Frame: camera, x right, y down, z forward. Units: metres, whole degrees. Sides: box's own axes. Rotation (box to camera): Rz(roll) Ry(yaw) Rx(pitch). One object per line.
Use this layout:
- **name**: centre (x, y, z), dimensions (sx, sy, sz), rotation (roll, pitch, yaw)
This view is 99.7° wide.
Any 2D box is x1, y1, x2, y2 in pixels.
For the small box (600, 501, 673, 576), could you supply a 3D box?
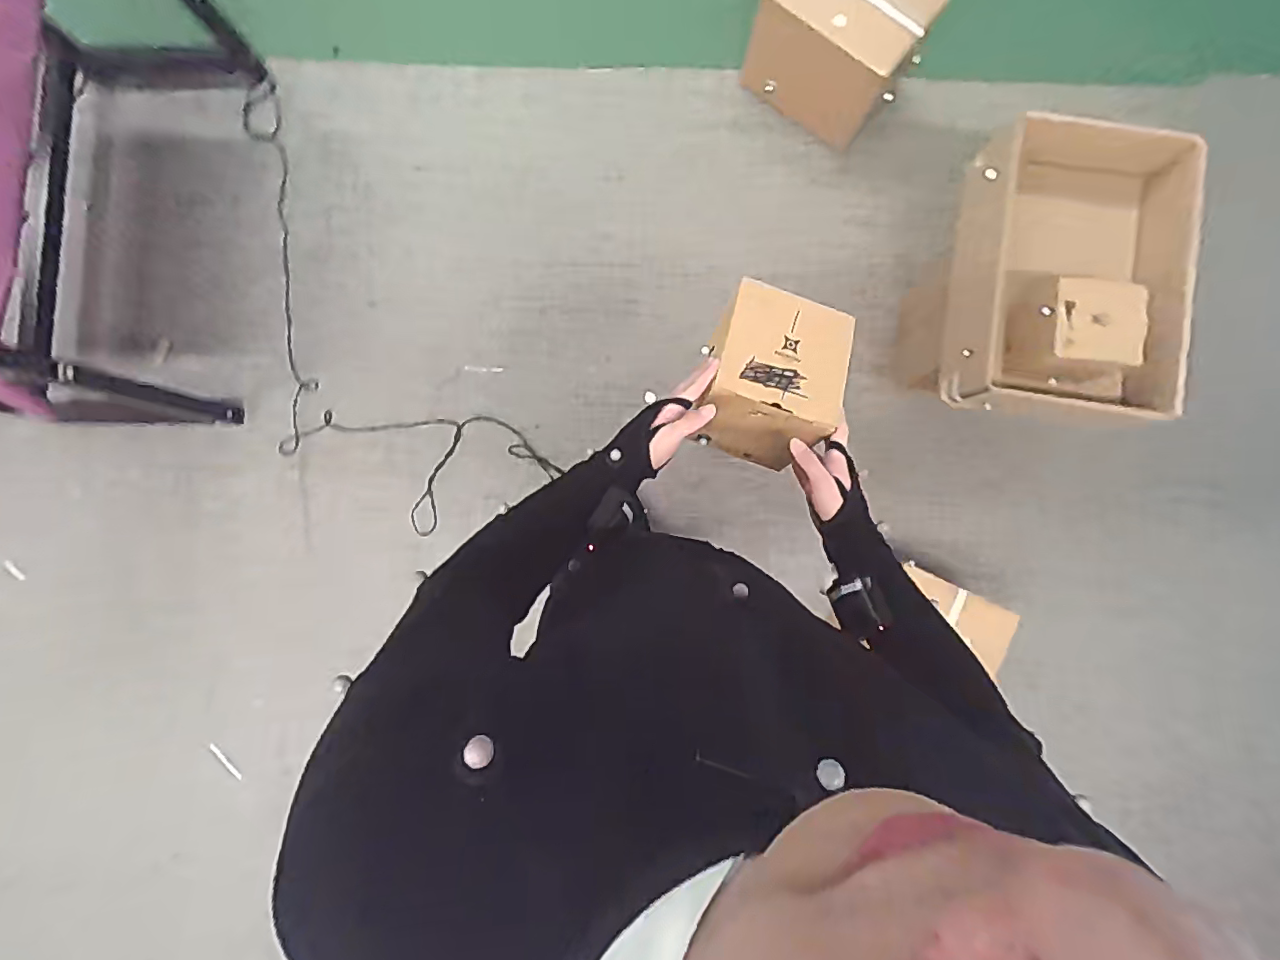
- **small box**: centre (-0.006, 0.173, 1.593), dimensions (0.168, 0.176, 0.179), rotation (16, 84, 7)

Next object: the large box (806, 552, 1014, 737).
- **large box**: centre (0.705, 0.447, 1.471), dimensions (0.320, 0.320, 0.408), rotation (25, 86, 1)

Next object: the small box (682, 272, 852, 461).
- **small box**: centre (0.168, -0.146, 0.758), dimensions (0.168, 0.176, 0.179), rotation (18, 70, -5)
